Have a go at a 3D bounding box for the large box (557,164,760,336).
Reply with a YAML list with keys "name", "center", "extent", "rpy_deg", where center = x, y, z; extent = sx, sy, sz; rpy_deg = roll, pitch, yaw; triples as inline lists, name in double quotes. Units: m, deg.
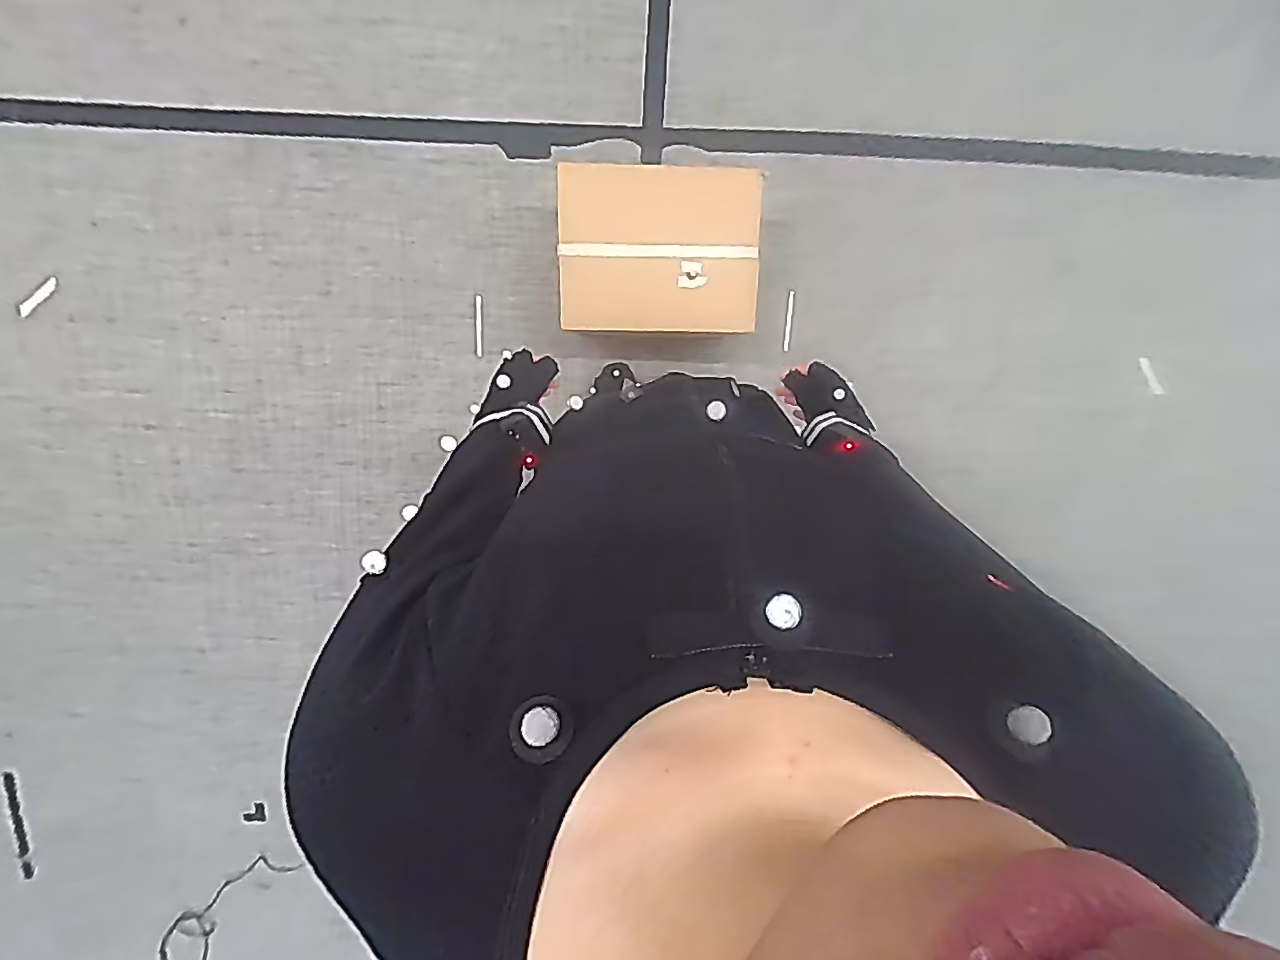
- name: "large box"
  center: [0.029, -0.496, 1.231]
  extent: [0.408, 0.320, 0.320]
  rpy_deg: [0, 104, -3]
